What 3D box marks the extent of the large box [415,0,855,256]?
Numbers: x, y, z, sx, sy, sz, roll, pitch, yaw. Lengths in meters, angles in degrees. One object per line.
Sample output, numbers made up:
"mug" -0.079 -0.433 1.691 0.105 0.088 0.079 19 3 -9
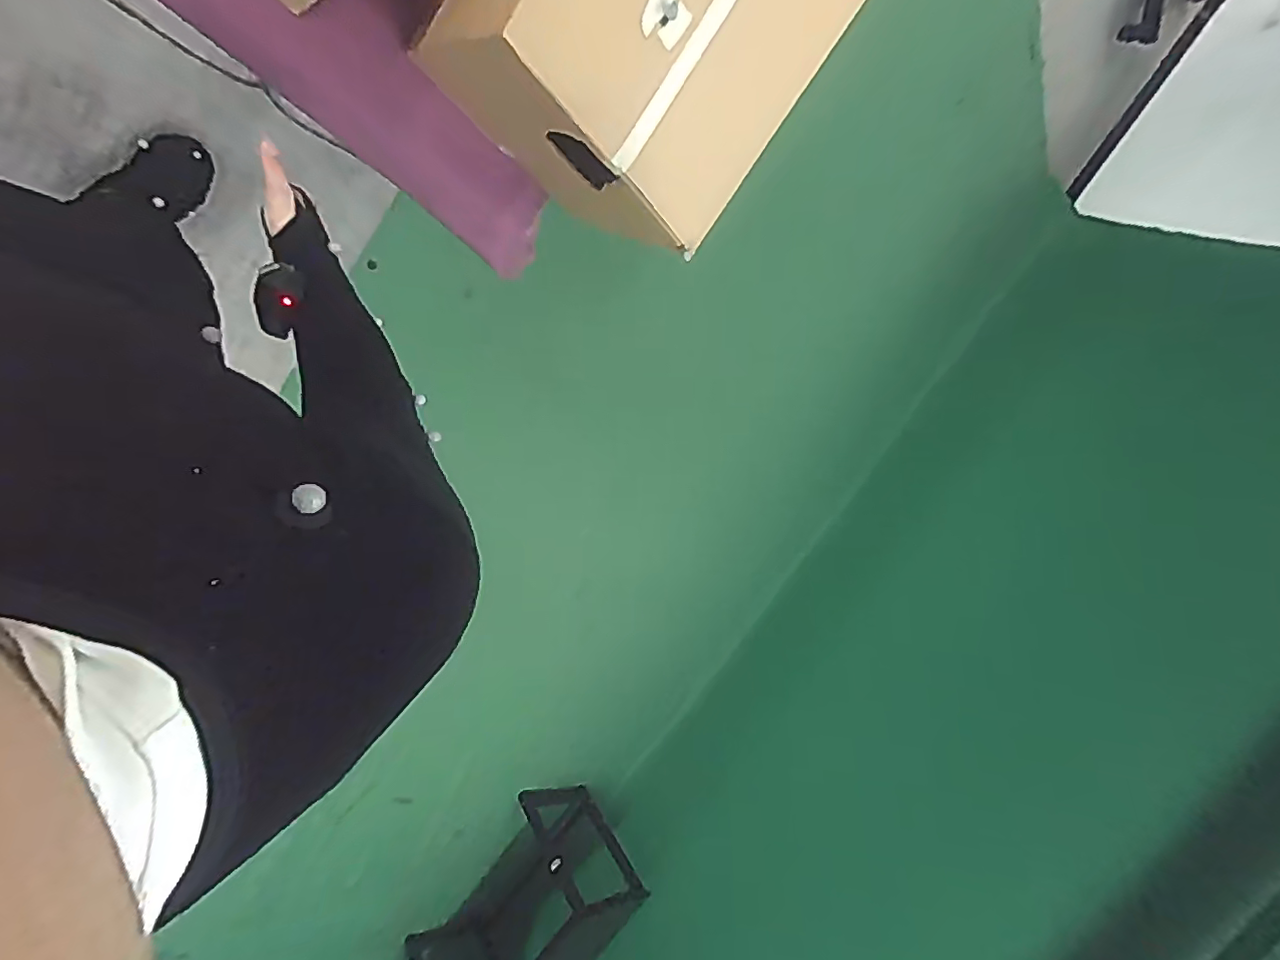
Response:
"large box" -0.004 -0.572 0.667 0.320 0.320 0.408 28 100 -47
